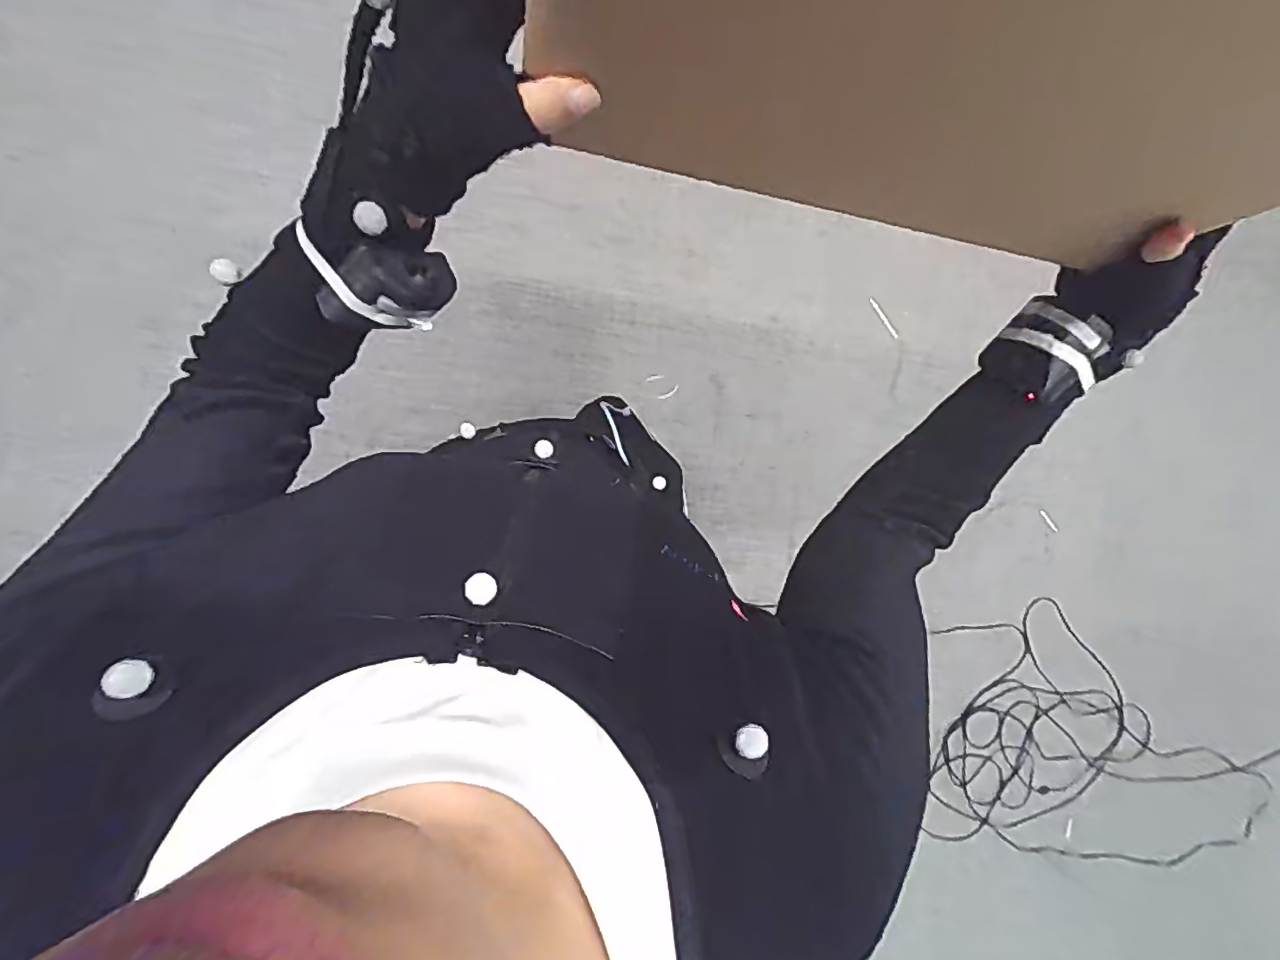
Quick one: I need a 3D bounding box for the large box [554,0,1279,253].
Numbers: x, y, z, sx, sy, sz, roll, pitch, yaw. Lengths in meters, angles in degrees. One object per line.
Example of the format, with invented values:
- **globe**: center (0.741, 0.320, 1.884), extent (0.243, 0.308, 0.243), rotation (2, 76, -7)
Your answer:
- **large box**: center (0.192, -0.318, 0.193), extent (0.408, 0.320, 0.320), rotation (2, 90, -19)
